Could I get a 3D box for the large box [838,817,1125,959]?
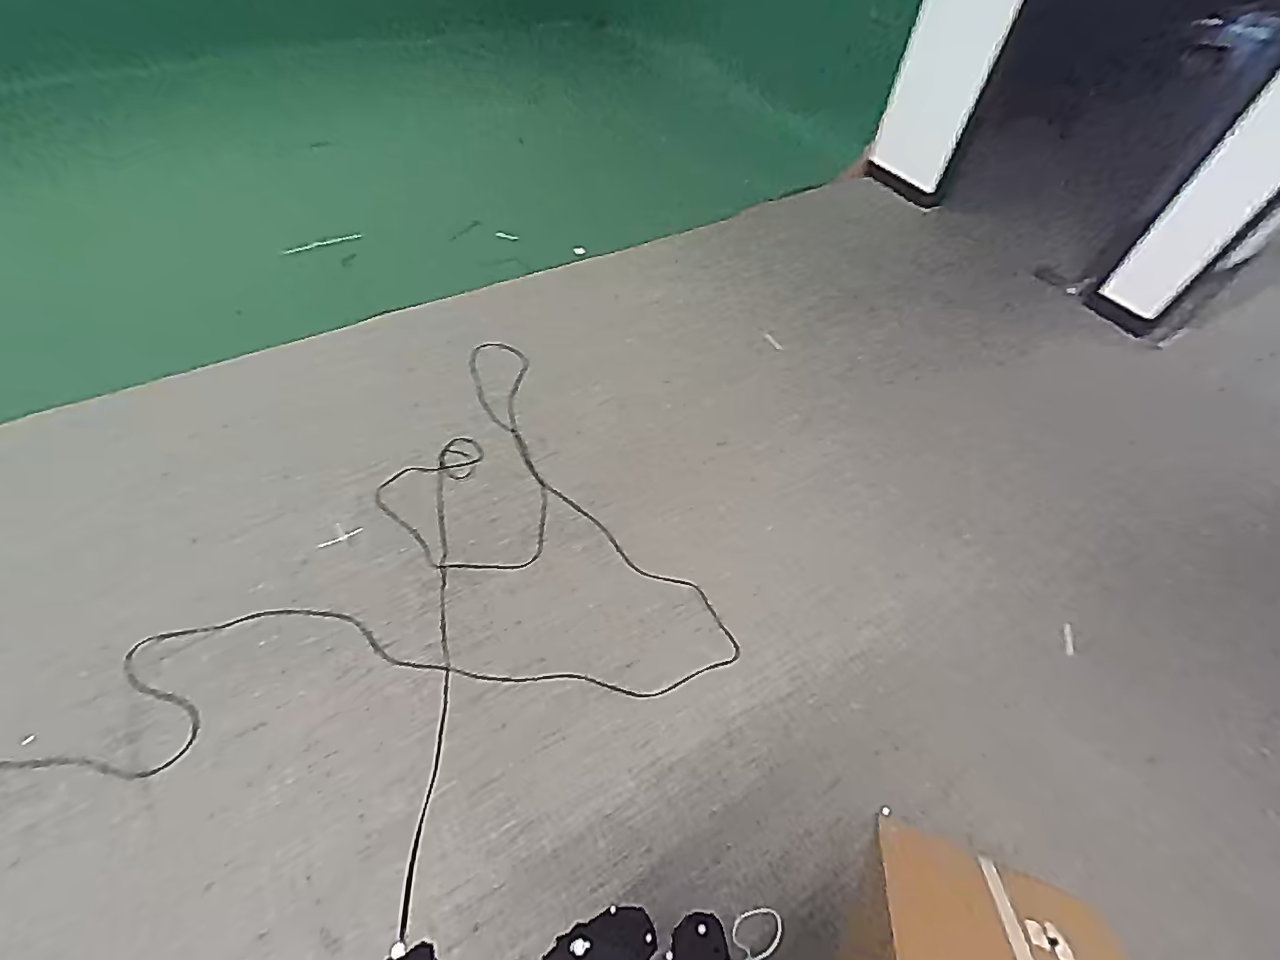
[{"bbox_3d":[0.439,0.745,0.682,0.320,0.408,0.320,15,96,18],"label":"large box"}]
